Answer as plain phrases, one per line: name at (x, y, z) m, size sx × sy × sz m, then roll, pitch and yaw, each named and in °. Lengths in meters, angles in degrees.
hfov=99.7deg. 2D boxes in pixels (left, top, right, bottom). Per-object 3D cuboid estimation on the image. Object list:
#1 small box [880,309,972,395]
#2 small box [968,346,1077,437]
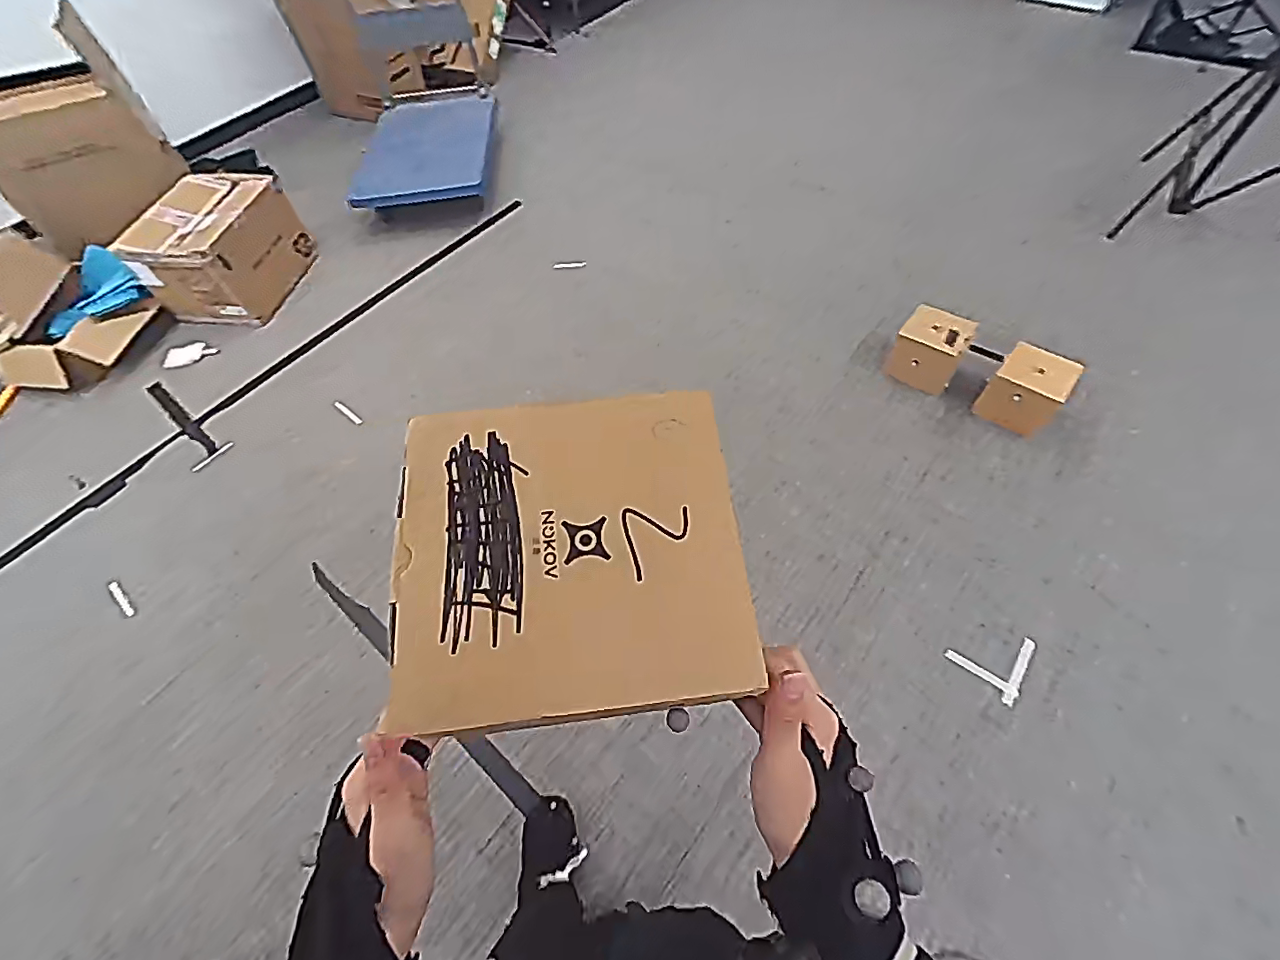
small box at (0.884, -0.391, 1.684) m, size 0.179 × 0.176 × 0.168 m, roll 32°, pitch 66°, yaw 25°
small box at (1.103, -0.250, 1.572) m, size 0.179 × 0.176 × 0.168 m, roll 34°, pitch 67°, yaw 25°
